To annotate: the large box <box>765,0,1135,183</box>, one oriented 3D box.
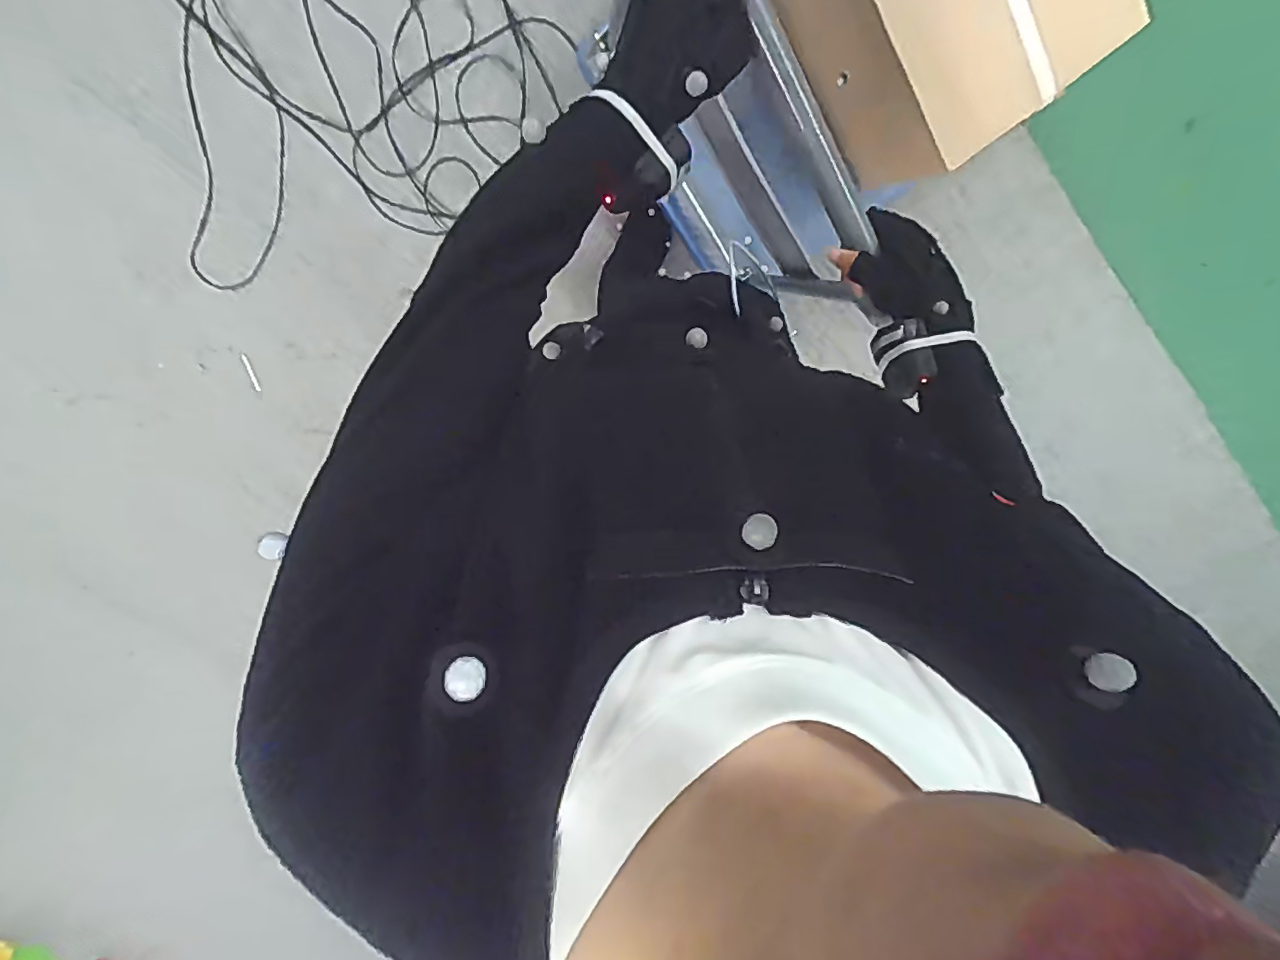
[{"bbox_3d":[0.460,-0.770,0.872,0.320,0.320,0.408,-36,110,11],"label":"large box"}]
